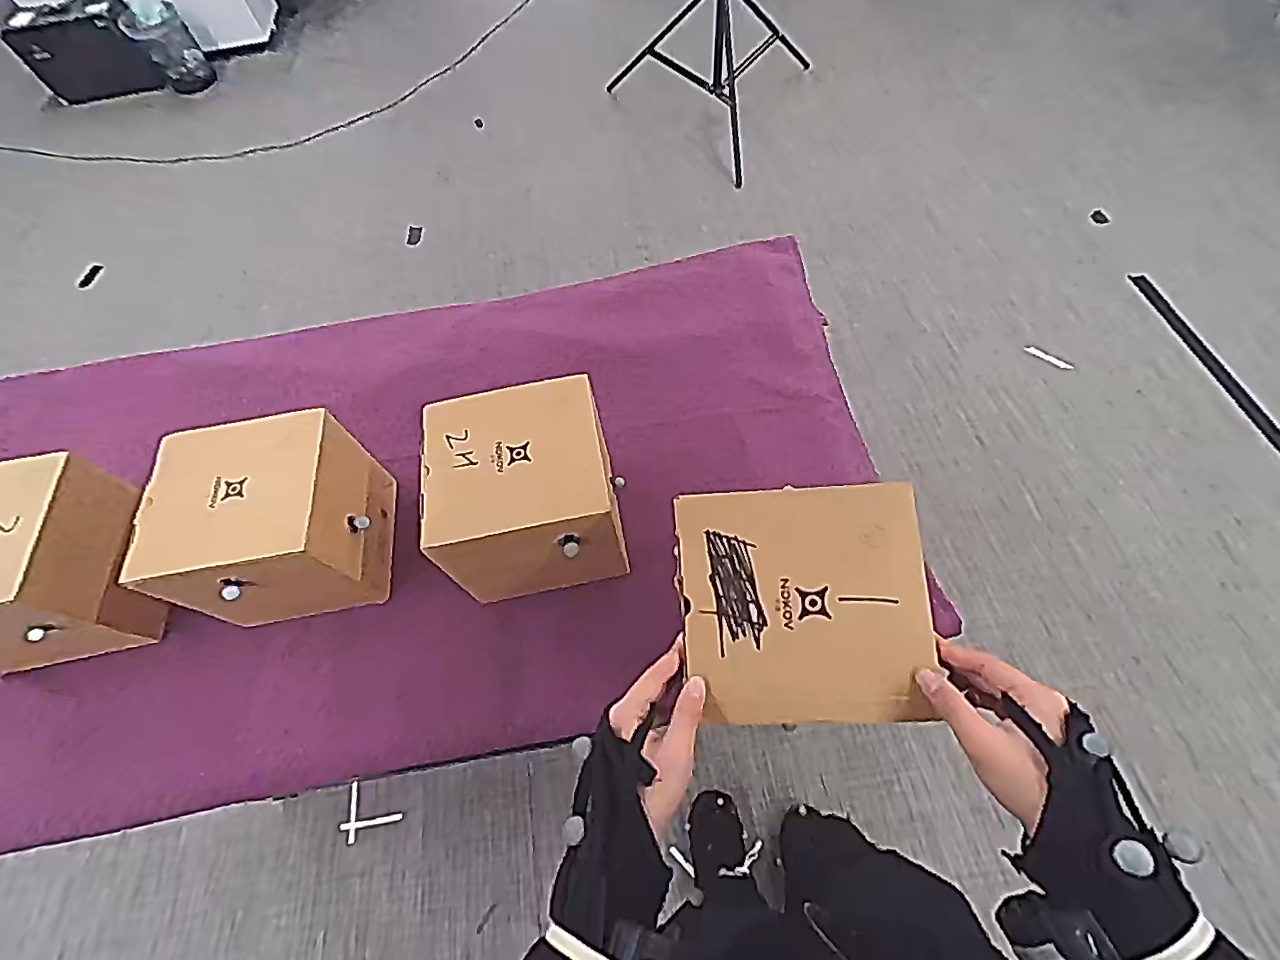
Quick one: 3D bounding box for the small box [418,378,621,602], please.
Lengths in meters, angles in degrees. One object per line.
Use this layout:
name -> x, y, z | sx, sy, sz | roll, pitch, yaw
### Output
small box -> -0.120, 0.018, 0.589 | 0.179, 0.176, 0.168 | -12, 60, -1

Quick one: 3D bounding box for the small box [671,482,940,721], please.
small box -> 0.124, 0.101, 0.464 | 0.179, 0.176, 0.168 | -4, 78, 8

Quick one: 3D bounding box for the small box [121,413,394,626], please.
small box -> -0.396, 0.052, 0.601 | 0.179, 0.176, 0.168 | -11, 61, 0
